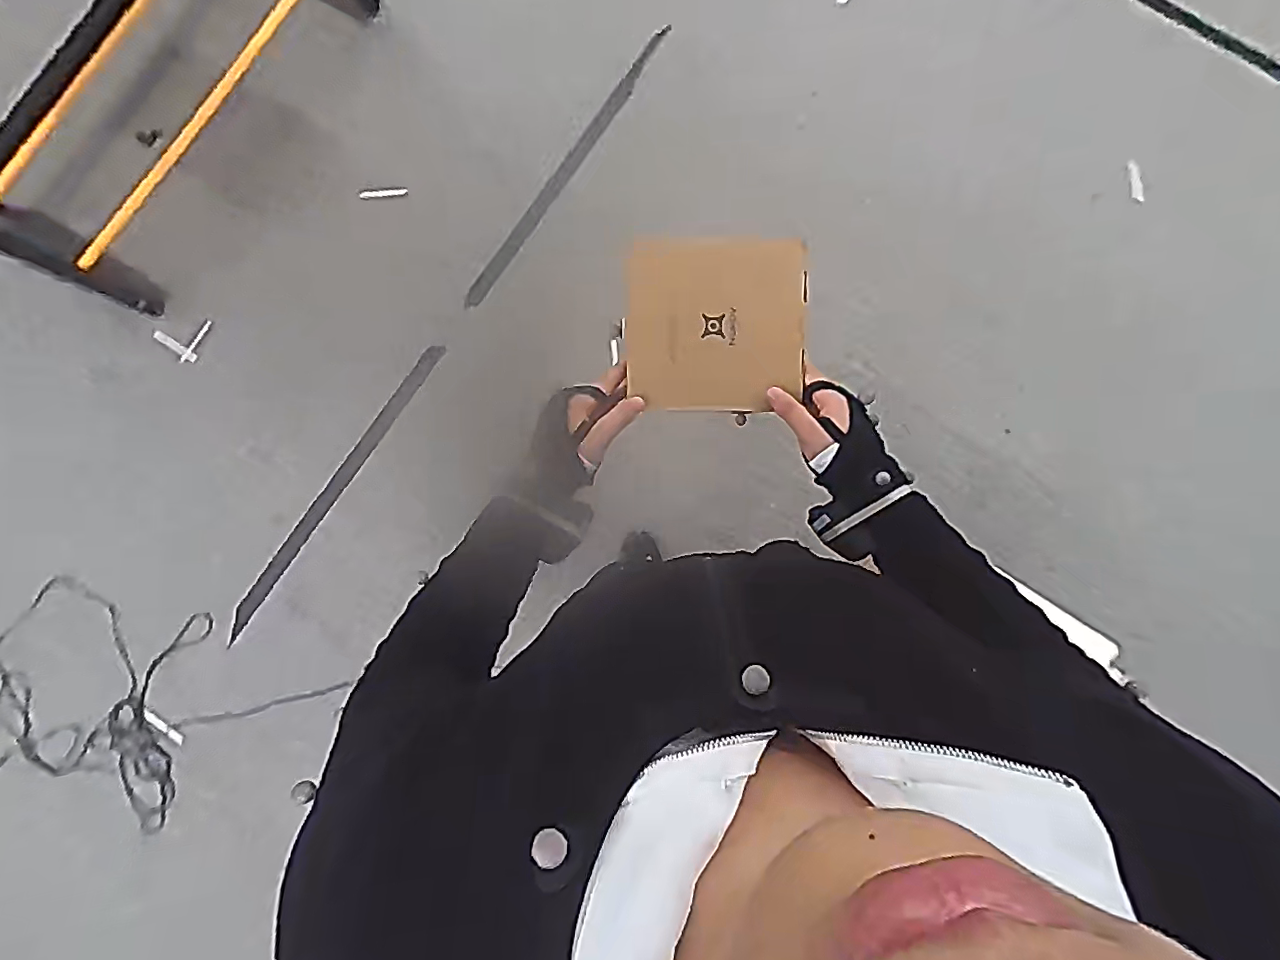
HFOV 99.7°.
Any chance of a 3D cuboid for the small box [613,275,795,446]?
[{"bbox_3d":[0.061,-0.127,0.611,0.179,0.176,0.168,-2,96,-3],"label":"small box"}]
